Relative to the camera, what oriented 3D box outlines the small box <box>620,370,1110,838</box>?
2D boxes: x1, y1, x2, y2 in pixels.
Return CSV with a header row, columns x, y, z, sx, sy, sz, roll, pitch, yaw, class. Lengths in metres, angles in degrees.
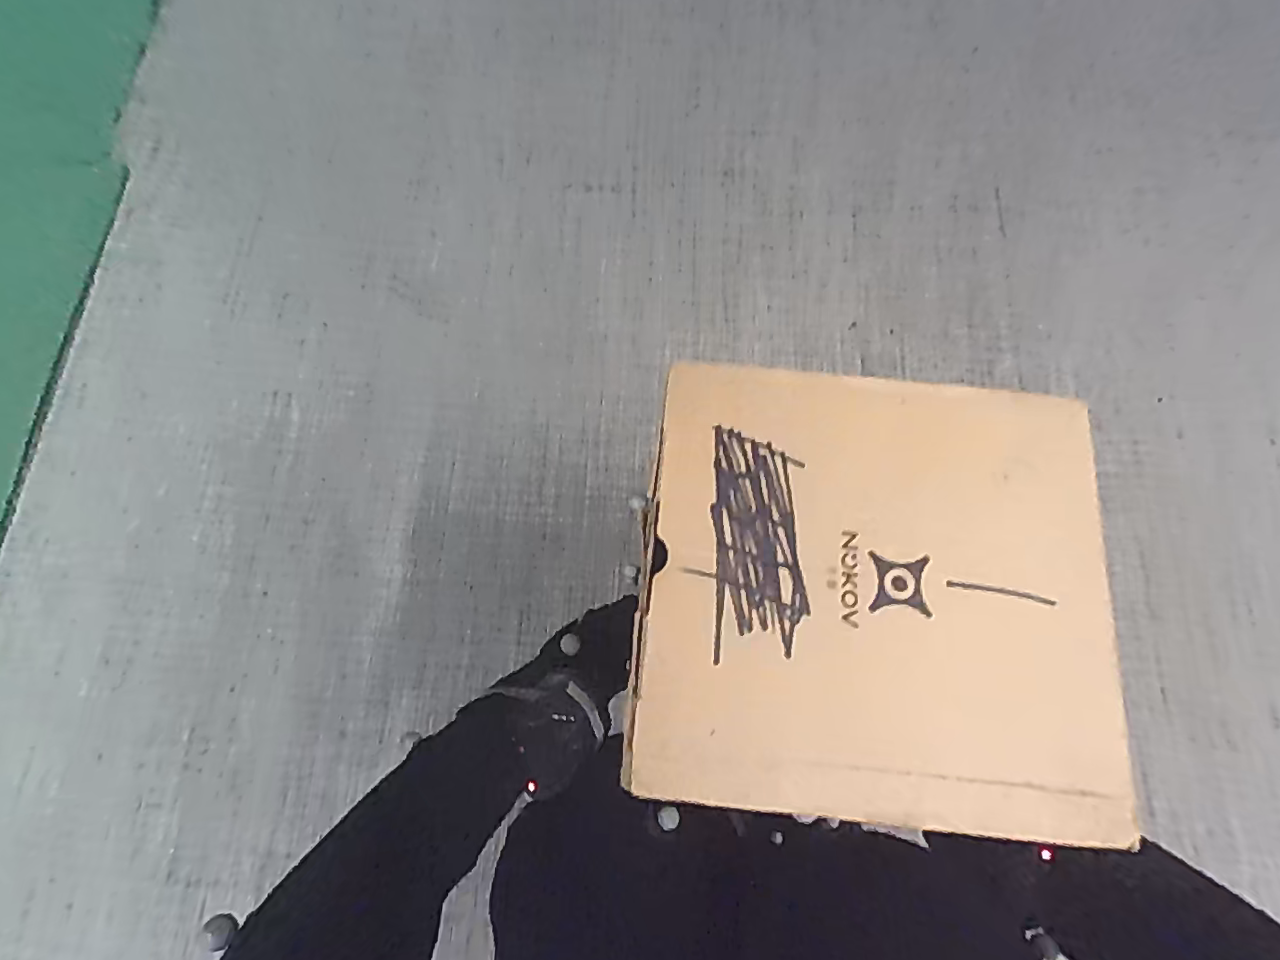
x,y,z,sx,sy,sz,roll,pitch,yaw,class
0.088,0.059,0.290,0.179,0.176,0.168,6,75,2,small box
